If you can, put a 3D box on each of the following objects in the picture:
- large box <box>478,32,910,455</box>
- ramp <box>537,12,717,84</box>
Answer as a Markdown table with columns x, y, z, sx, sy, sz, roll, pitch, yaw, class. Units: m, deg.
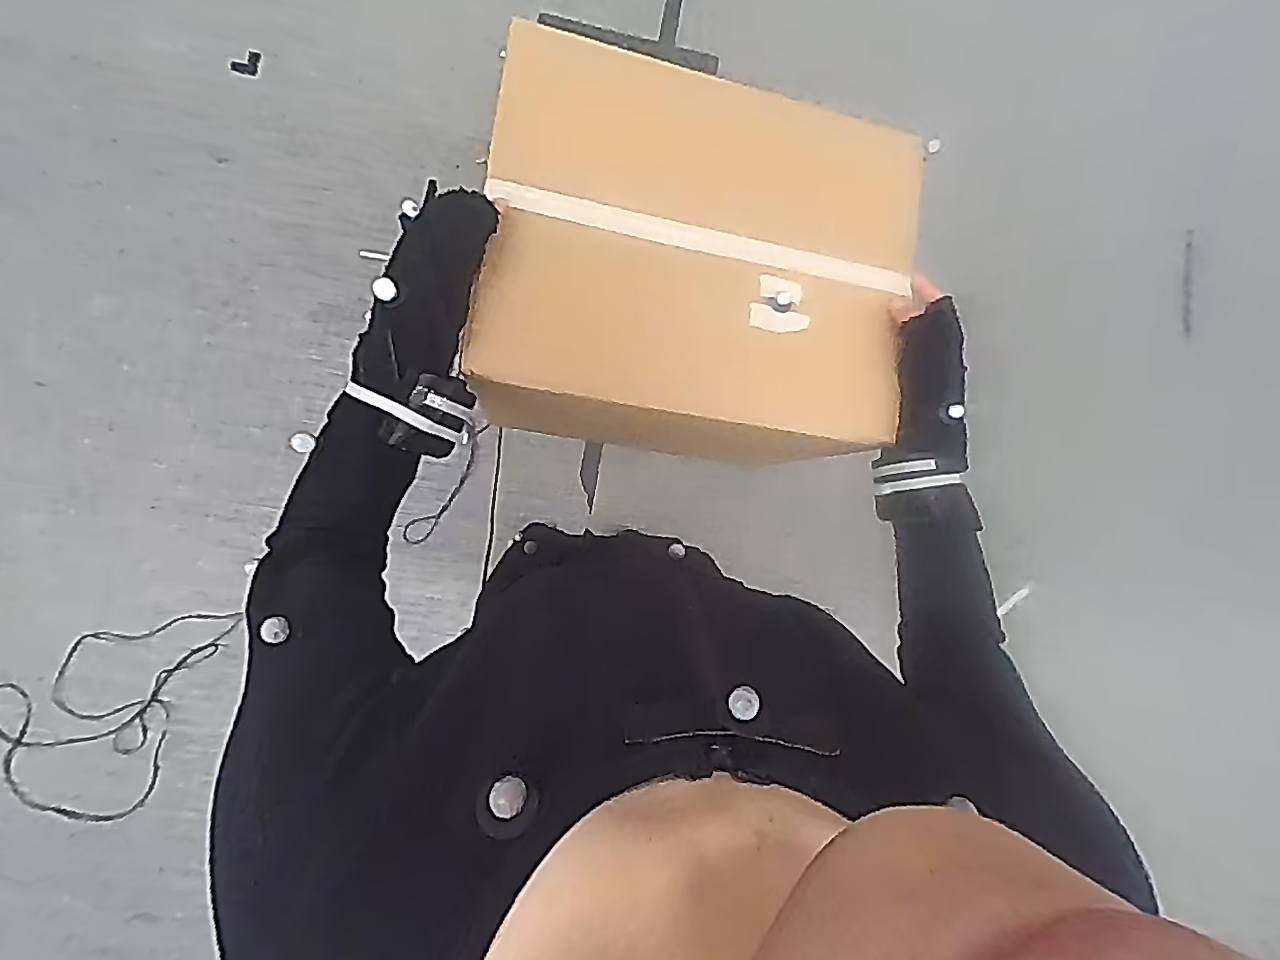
| x | y | z | sx | sy | sz | roll | pitch | yaw | class |
| --- | --- | --- | --- | --- | --- | --- | --- | --- | --- |
| 0.037 | -0.217 | 0.649 | 0.408 | 0.320 | 0.320 | 8 | 87 | -12 | large box |
| -0.103 | -0.700 | 1.480 | 0.509 | 0.206 | 0.991 | 7 | 84 | -7 | ramp |
